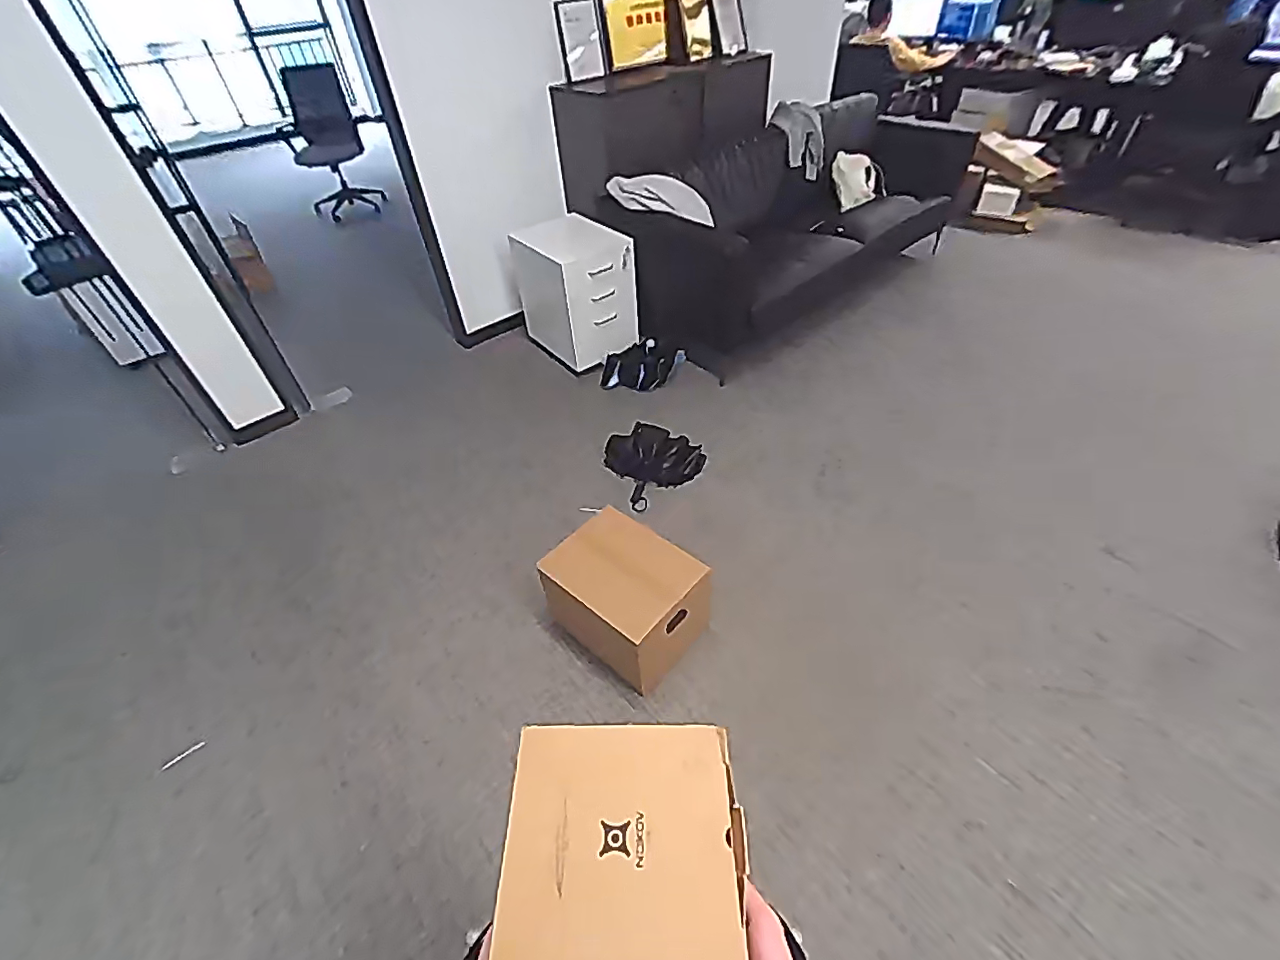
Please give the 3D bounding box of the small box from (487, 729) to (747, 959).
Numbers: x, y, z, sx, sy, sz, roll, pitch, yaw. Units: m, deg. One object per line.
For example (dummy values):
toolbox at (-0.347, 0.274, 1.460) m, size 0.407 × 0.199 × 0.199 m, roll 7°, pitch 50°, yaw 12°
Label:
small box at (-0.014, 0.328, 0.464) m, size 0.179 × 0.176 × 0.168 m, roll -2°, pitch 45°, yaw 1°
